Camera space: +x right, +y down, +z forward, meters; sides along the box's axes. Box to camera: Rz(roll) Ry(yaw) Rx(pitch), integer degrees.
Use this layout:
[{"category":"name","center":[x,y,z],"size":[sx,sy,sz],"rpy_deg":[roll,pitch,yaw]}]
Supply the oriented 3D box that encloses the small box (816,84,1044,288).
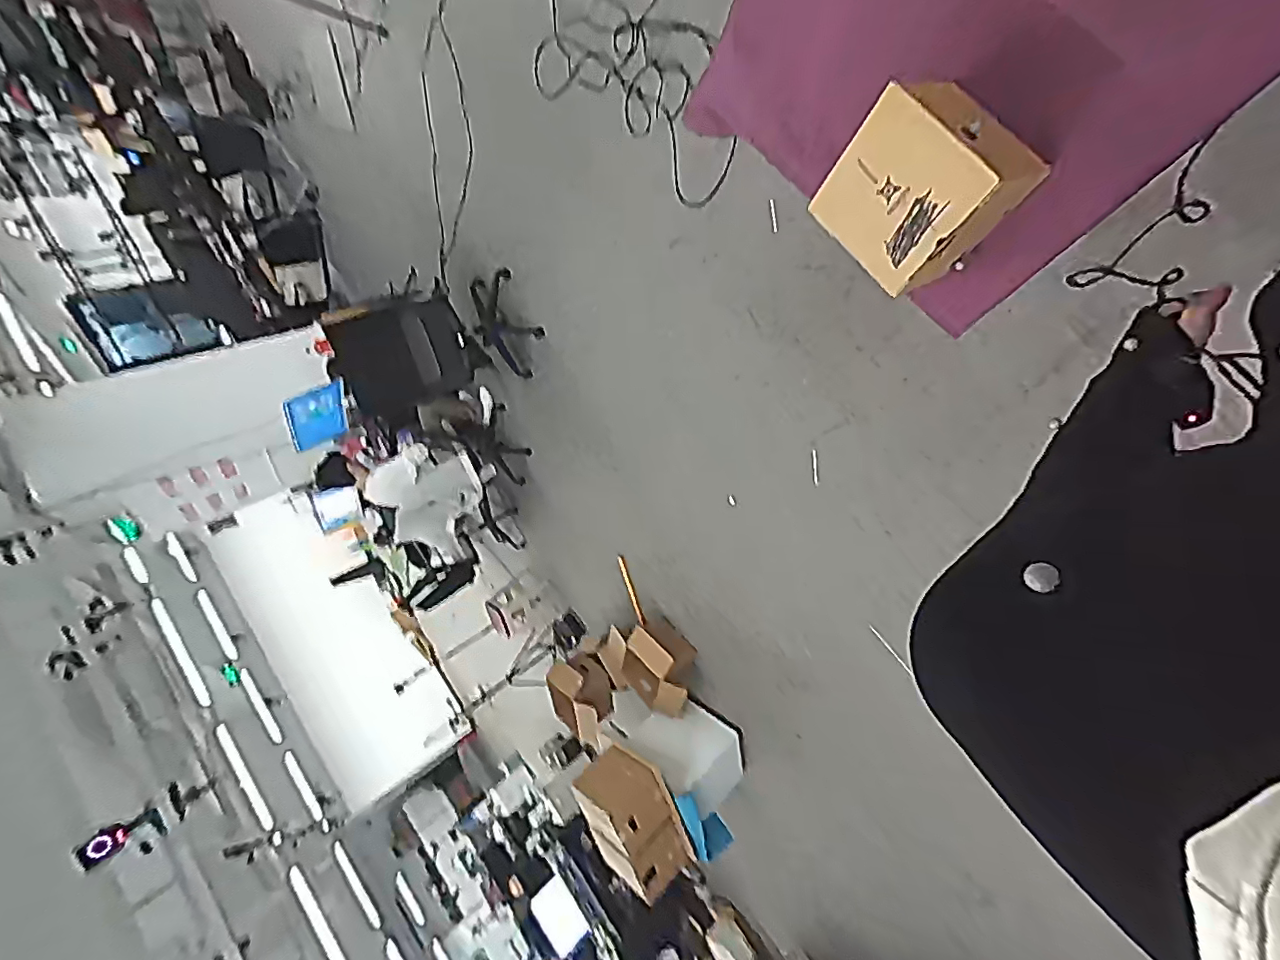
[{"category":"small box","center":[0.382,-0.392,0.718],"size":[0.179,0.176,0.168],"rpy_deg":[54,147,13]}]
